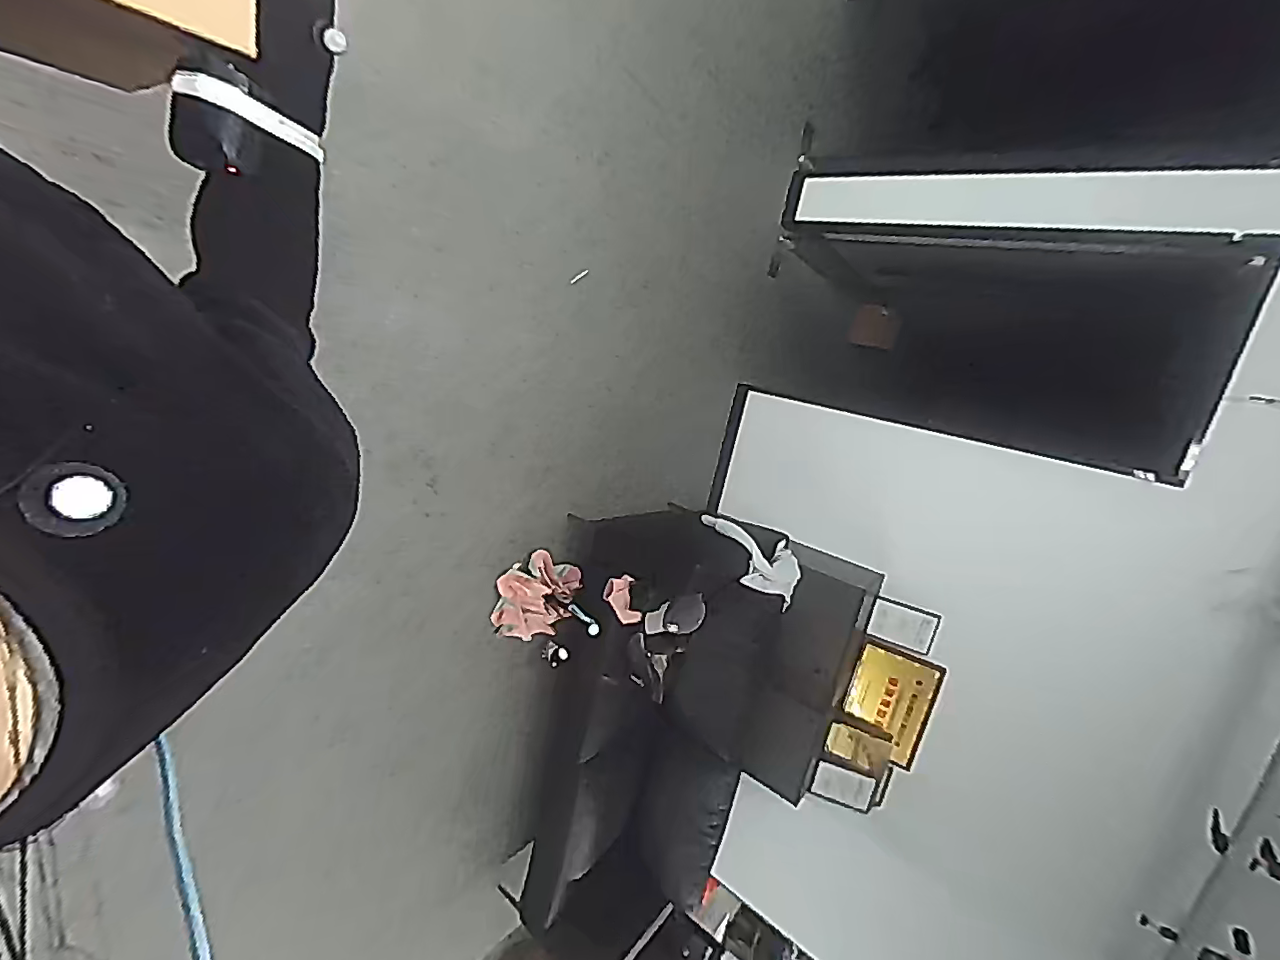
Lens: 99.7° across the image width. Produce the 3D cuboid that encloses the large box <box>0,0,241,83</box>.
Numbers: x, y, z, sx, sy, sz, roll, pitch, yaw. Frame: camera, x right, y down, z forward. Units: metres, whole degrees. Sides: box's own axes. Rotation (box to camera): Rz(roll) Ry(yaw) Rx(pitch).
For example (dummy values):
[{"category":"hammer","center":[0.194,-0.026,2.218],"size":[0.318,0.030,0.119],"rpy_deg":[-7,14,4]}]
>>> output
[{"category":"large box","center":[-0.480,-0.448,0.252],"size":[0.408,0.320,0.320],"rpy_deg":[-12,118,-51]}]
